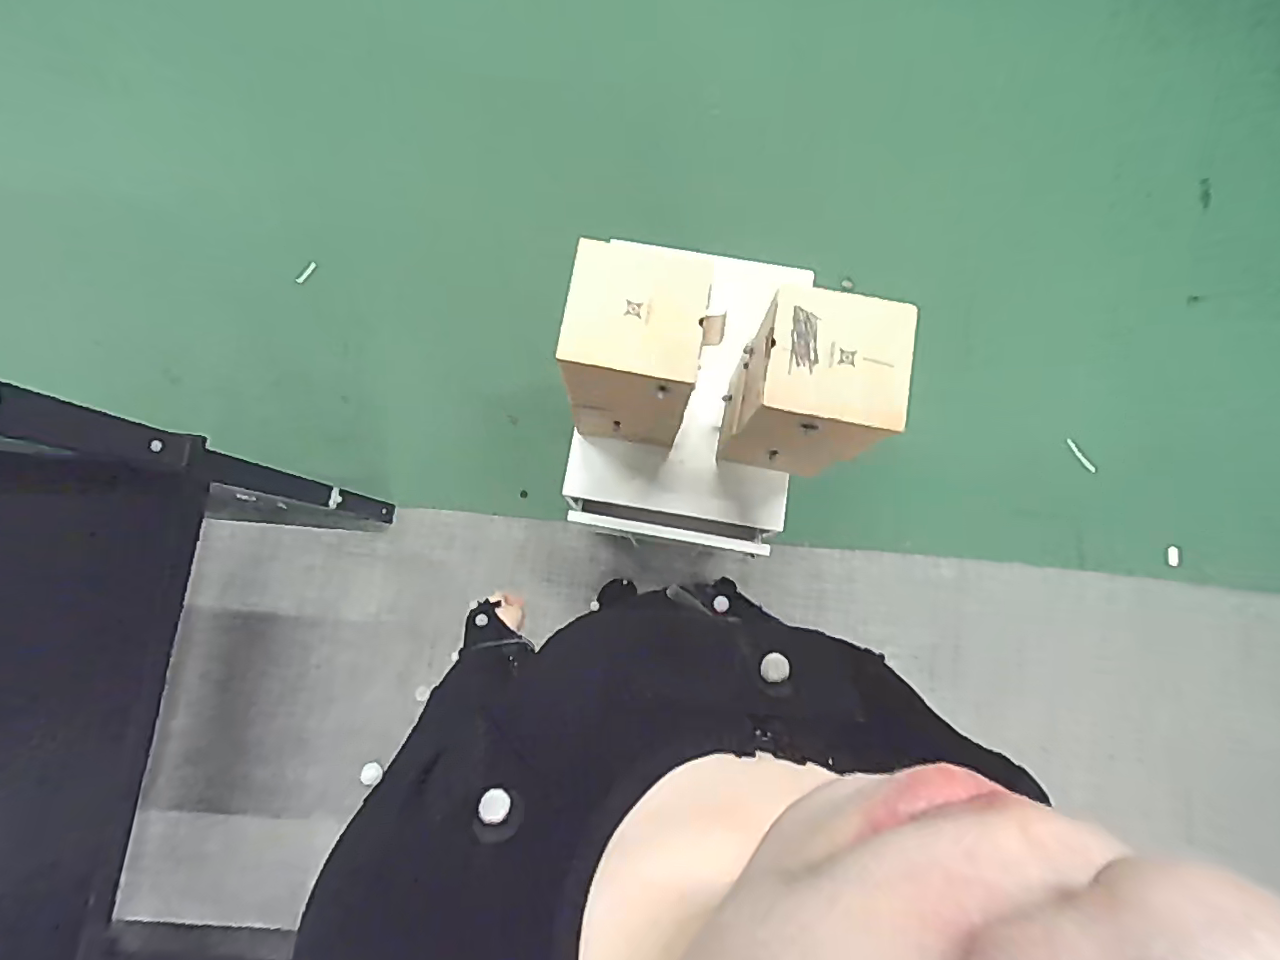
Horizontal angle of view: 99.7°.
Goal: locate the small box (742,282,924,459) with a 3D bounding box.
[{"bbox_3d":[0.243,-0.134,0.722,0.179,0.176,0.168,11,80,1],"label":"small box"}]
